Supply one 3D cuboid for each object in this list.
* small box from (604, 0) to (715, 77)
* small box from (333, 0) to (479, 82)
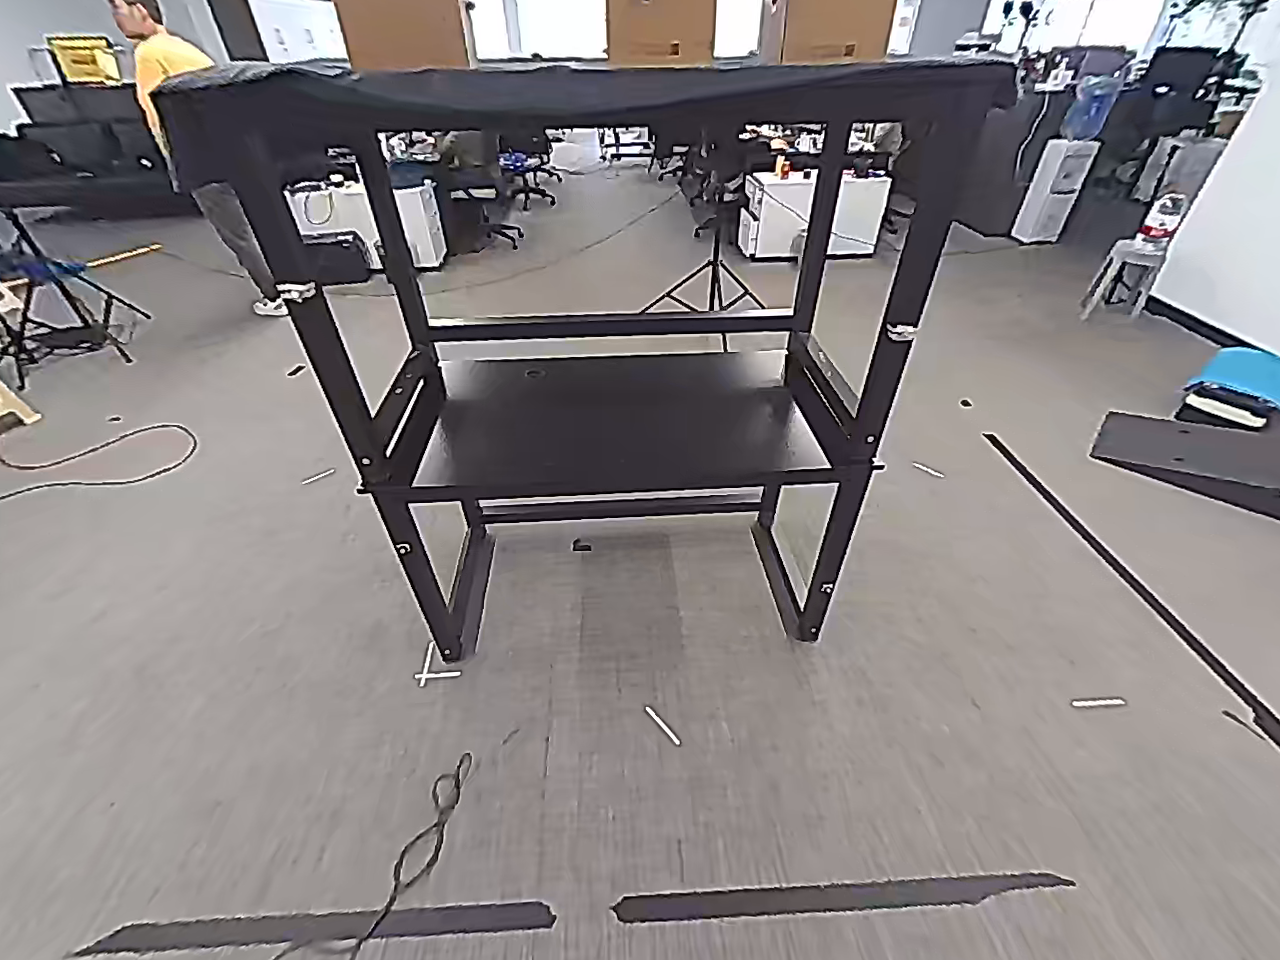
[{"bbox_3d":[0.030,-0.749,0.857,0.168,0.176,0.179,-1,38,0],"label":"small box"},{"bbox_3d":[-0.351,-0.717,0.822,0.179,0.176,0.168,-6,38,-6],"label":"small box"}]
